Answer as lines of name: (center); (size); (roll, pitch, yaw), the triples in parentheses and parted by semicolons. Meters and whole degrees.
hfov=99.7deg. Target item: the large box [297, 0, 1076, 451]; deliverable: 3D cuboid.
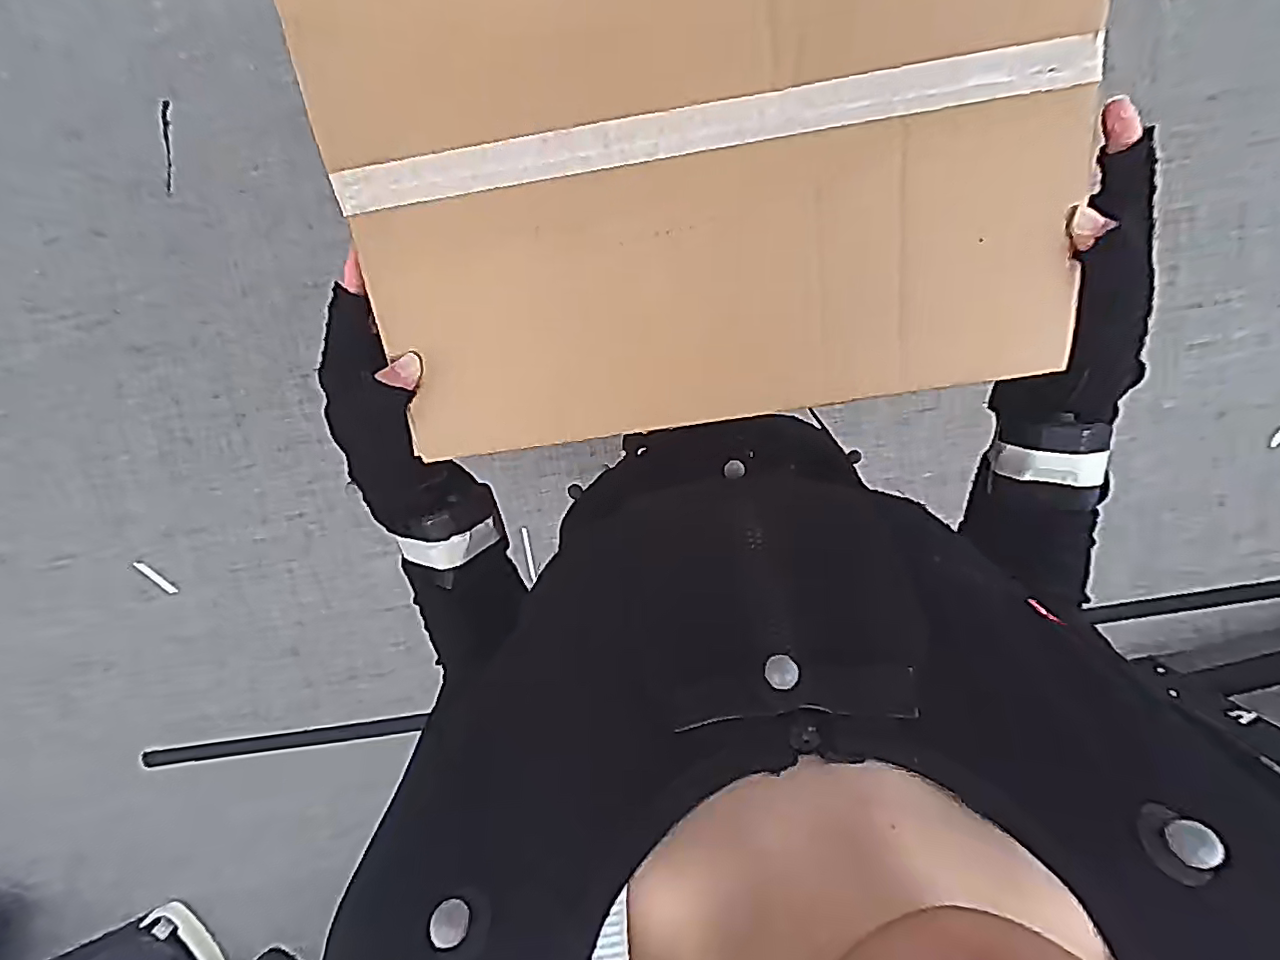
large box: (0.031, -0.239, 0.441); (0.408, 0.320, 0.320); (-8, 110, 3)
